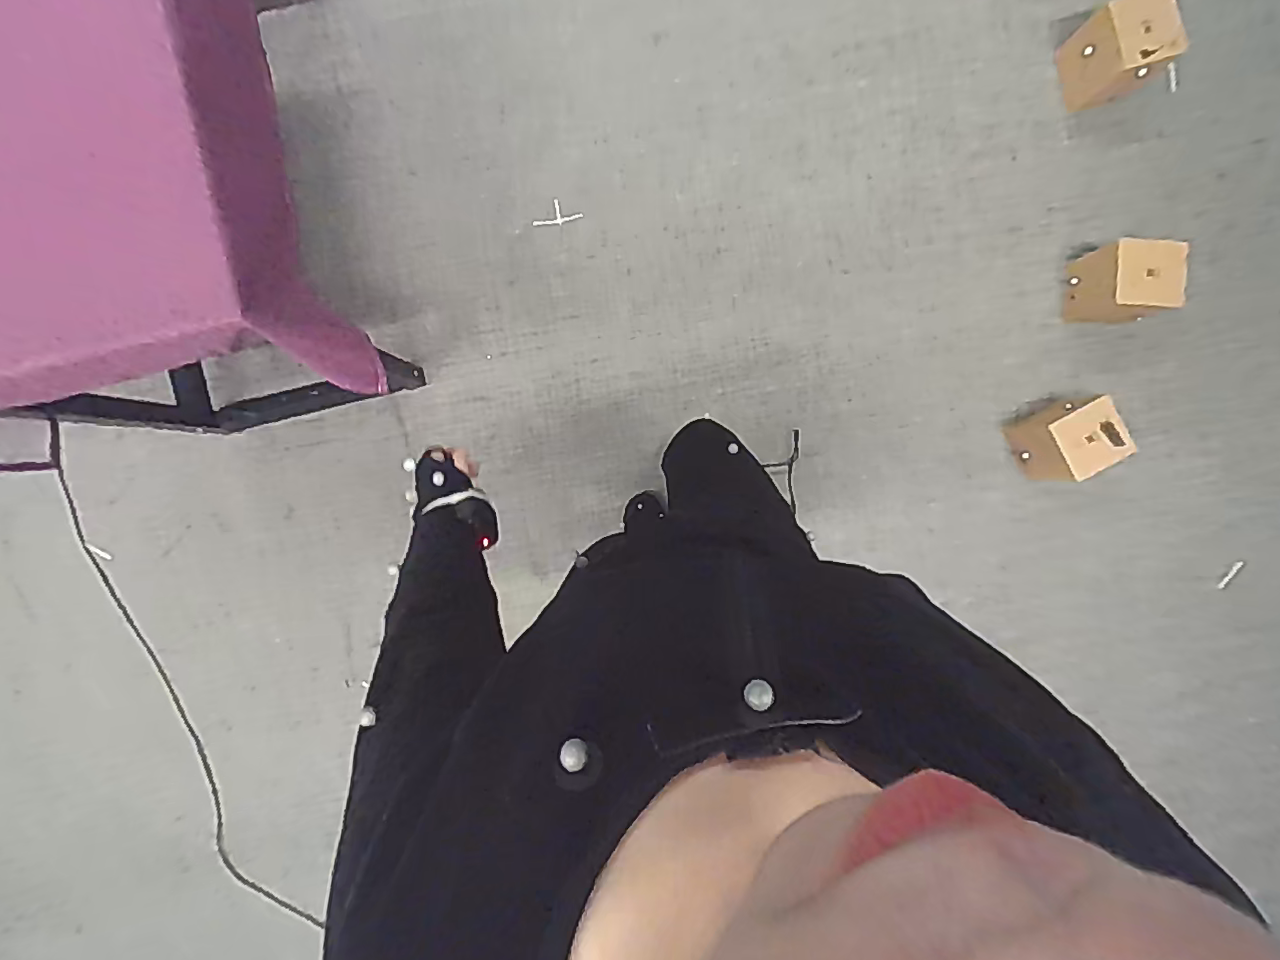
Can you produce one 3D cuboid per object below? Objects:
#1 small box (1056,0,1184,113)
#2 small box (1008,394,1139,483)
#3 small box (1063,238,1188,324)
[{"bbox_3d":[1.241,-1.115,1.412,0.168,0.176,0.179,-17,90,0],"label":"small box"},{"bbox_3d":[1.132,-0.106,1.425,0.179,0.176,0.168,-29,90,0],"label":"small box"},{"bbox_3d":[1.270,-0.516,1.422,0.179,0.176,0.168,3,90,0],"label":"small box"}]
